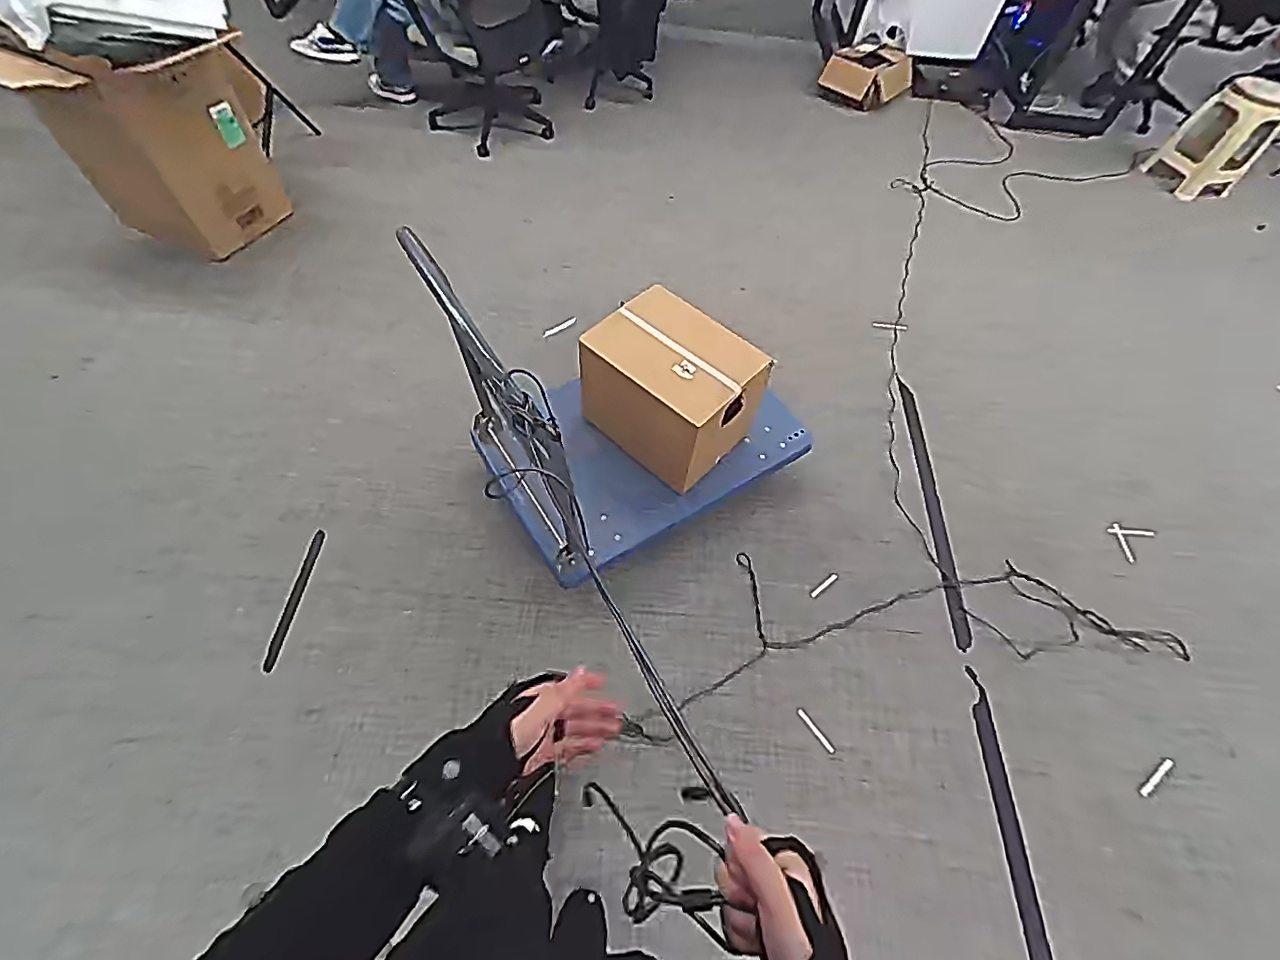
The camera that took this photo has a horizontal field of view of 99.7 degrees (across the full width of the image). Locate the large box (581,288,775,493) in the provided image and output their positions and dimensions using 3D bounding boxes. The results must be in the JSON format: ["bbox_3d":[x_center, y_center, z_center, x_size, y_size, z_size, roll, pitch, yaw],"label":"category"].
[{"bbox_3d":[0.083,-0.245,1.486,0.408,0.320,0.320,40,64,18],"label":"large box"}]
